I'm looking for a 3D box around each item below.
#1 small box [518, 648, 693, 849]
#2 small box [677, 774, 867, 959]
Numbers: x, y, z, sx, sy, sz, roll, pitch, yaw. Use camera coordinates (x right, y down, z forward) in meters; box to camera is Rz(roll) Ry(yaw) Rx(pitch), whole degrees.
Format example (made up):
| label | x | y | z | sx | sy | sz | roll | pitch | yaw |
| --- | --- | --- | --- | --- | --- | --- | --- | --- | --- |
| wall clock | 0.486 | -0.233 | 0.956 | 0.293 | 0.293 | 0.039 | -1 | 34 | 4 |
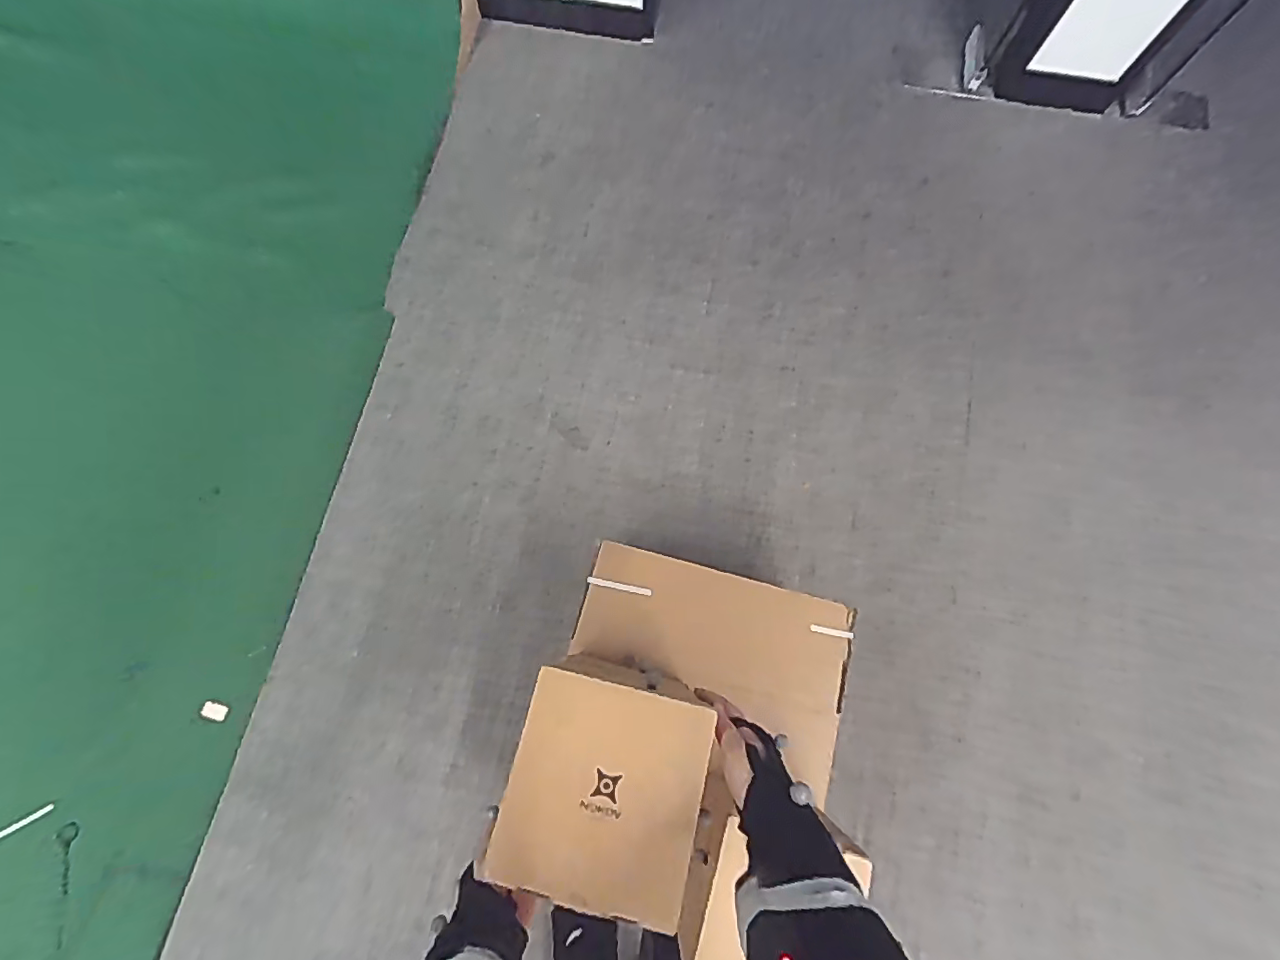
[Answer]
| label | x | y | z | sx | sy | sz | roll | pitch | yaw |
| --- | --- | --- | --- | --- | --- | --- | --- | --- | --- |
| small box | -0.036 | 0.326 | 0.696 | 0.168 | 0.176 | 0.179 | 15 | 74 | 4 |
| small box | 0.147 | 0.483 | 0.651 | 0.168 | 0.176 | 0.179 | 17 | 74 | 4 |
